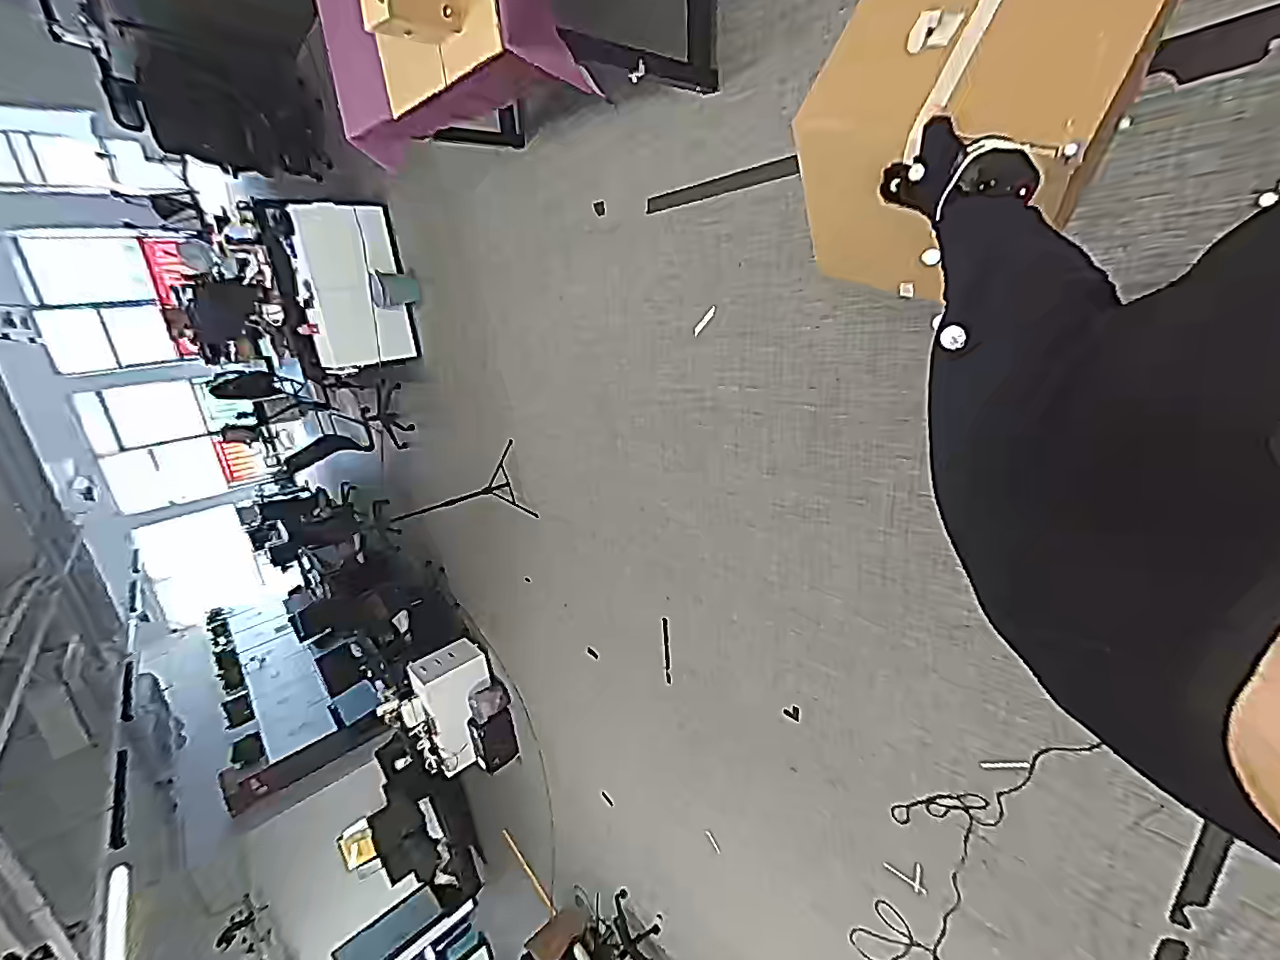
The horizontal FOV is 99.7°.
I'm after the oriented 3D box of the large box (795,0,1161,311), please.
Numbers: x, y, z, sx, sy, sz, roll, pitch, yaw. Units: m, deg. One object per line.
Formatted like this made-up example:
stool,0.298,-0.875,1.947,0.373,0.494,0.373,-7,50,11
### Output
large box,0.468,-0.521,0.757,0.320,0.320,0.408,28,89,30
